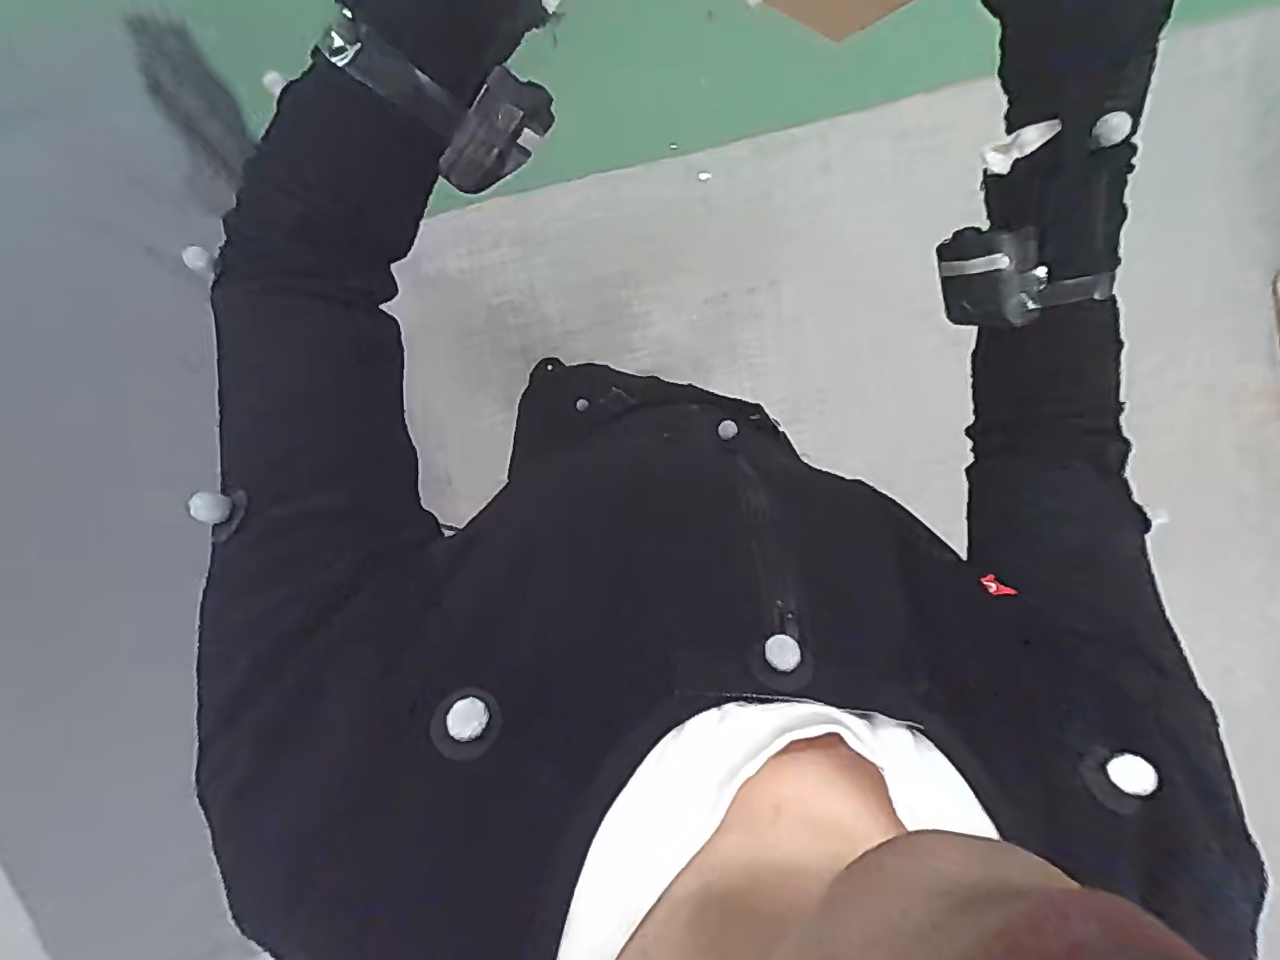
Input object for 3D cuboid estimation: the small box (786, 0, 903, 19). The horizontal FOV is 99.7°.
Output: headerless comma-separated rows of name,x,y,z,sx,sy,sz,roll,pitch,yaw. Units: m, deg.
small box,0.125,-0.403,0.301,0.179,0.176,0.168,16,115,-16
